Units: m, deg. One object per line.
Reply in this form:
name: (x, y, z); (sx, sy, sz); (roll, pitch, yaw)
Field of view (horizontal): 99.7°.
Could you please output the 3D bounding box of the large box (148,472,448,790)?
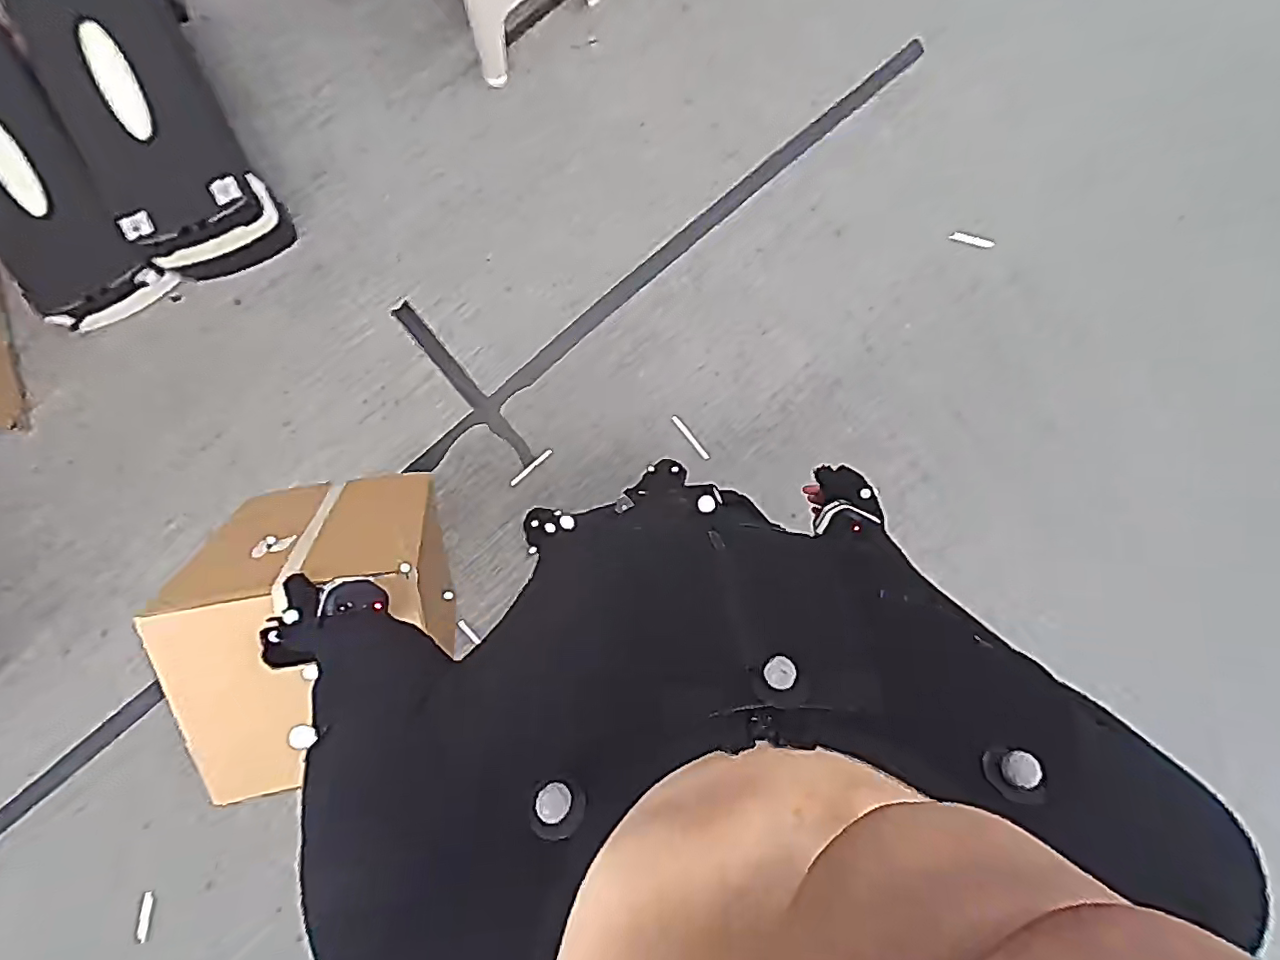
large box: (-0.501, 0.209, 0.907); (0.320, 0.408, 0.320); (-8, 113, -16)
